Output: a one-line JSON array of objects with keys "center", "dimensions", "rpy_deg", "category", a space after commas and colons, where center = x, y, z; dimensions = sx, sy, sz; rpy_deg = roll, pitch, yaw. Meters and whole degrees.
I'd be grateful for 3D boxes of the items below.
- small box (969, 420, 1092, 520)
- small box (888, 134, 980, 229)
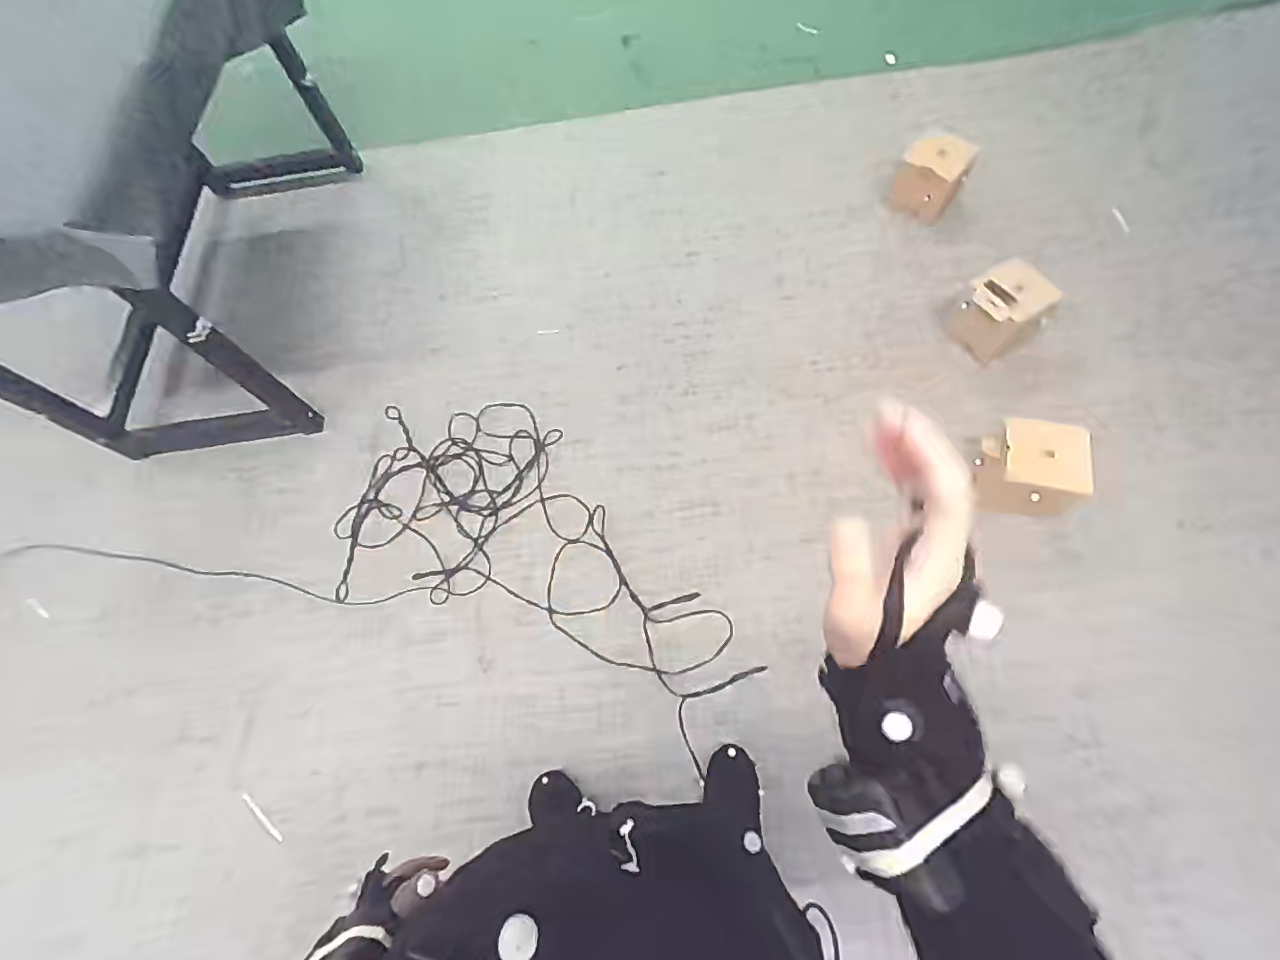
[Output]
[{"center": [0.905, -0.016, 1.267], "dimensions": [0.179, 0.176, 0.168], "rpy_deg": [11, 68, 10], "category": "small box"}, {"center": [0.898, -0.917, 1.674], "dimensions": [0.168, 0.176, 0.179], "rpy_deg": [37, 73, 18], "category": "small box"}]
